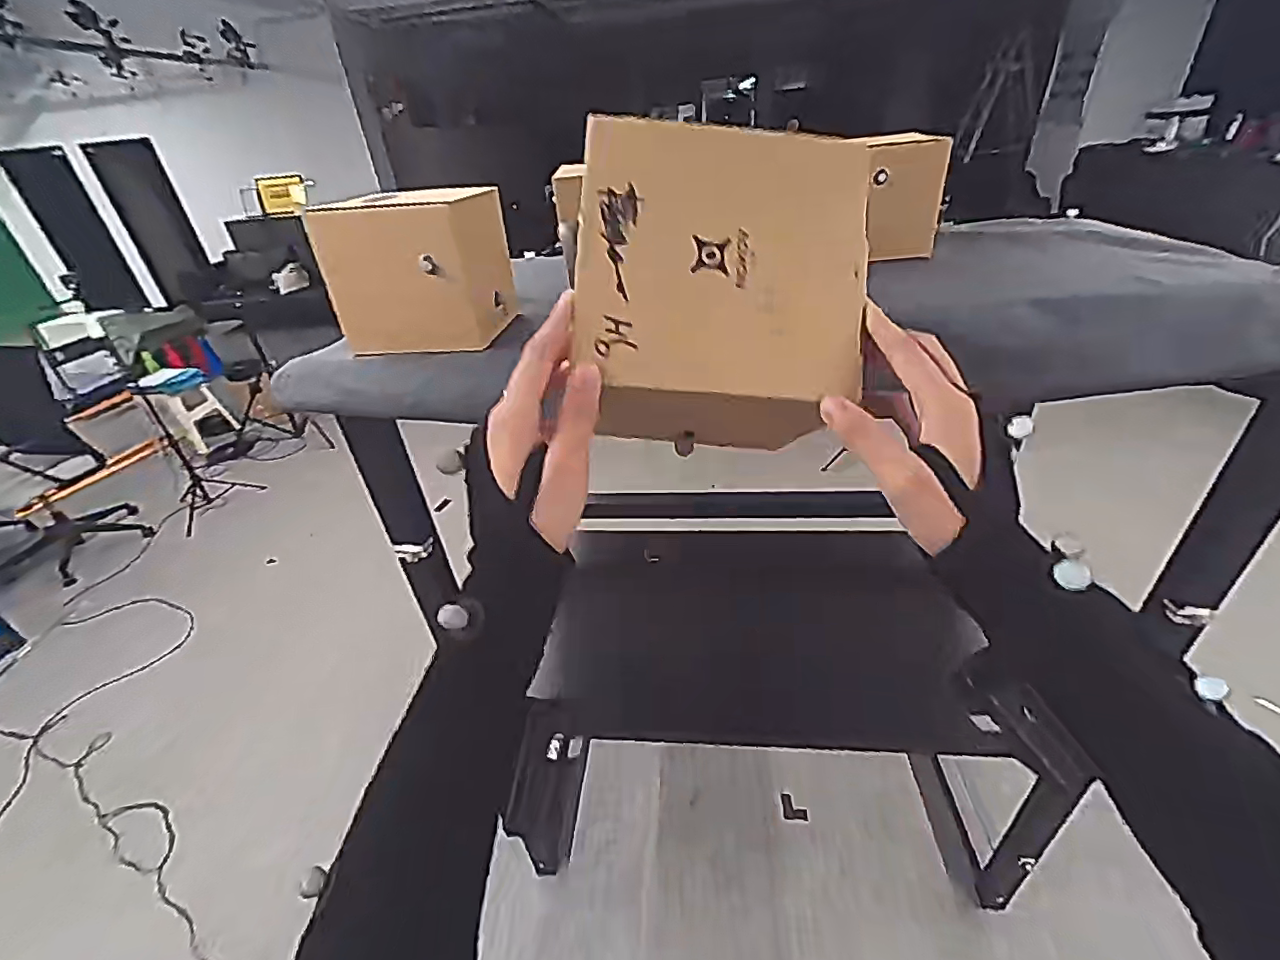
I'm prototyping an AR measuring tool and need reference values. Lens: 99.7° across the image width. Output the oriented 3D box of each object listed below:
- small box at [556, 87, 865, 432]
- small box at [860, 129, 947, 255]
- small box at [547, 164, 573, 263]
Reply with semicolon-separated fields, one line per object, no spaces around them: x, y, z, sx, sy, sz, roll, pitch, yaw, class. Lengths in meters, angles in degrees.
0.038;-0.134;0.392;0.179;0.168;0.176;4;-6;-4;small box
0.375;-0.476;0.900;0.179;0.176;0.168;-2;34;7;small box
-0.056;-0.451;0.933;0.168;0.176;0.179;-6;33;2;small box
